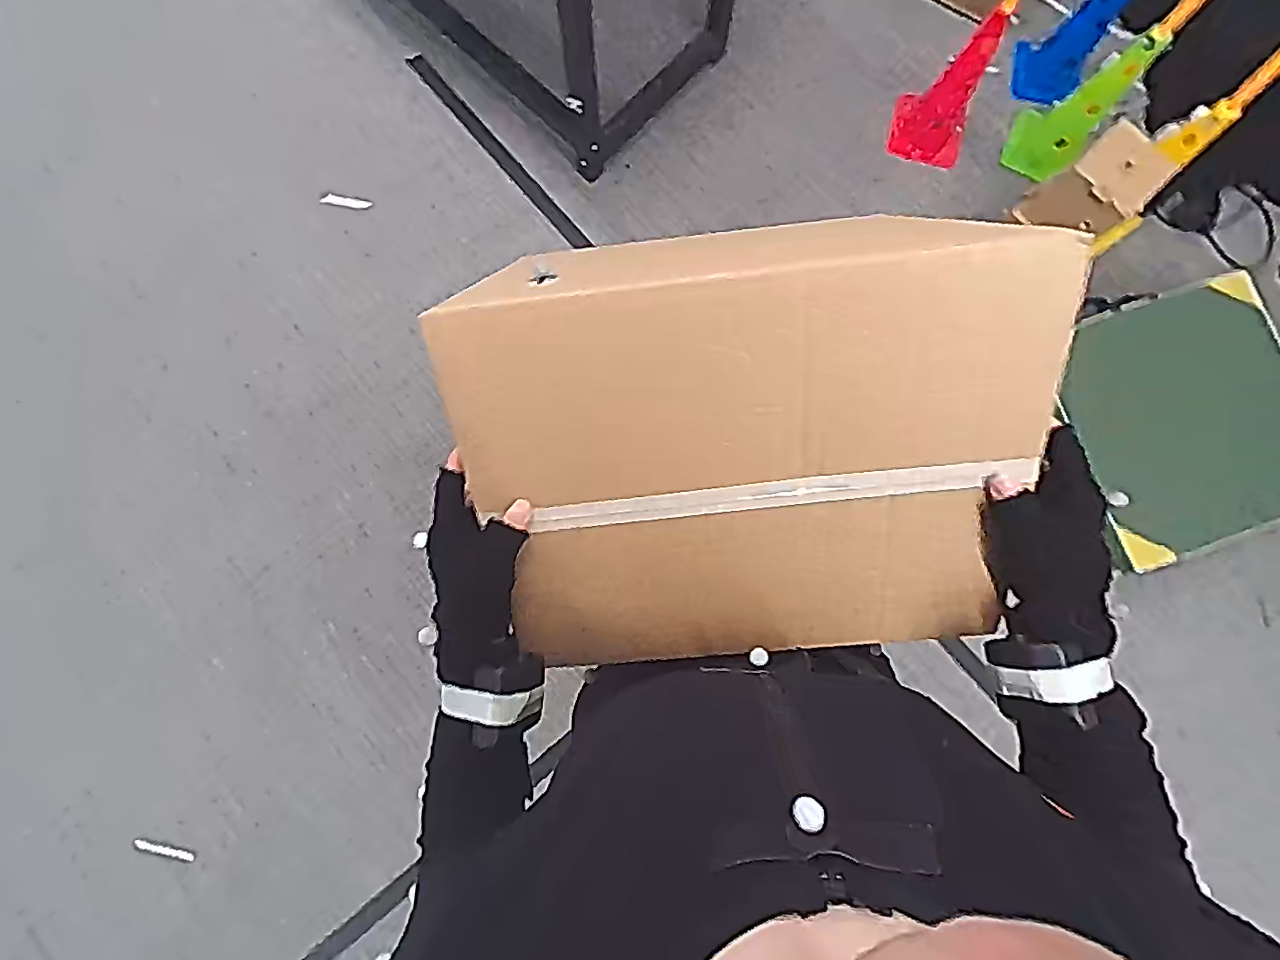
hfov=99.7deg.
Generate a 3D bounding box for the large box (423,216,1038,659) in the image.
[{"bbox_3d":[0.070,-0.065,0.543,0.408,0.320,0.320,-7,118,3],"label":"large box"}]
